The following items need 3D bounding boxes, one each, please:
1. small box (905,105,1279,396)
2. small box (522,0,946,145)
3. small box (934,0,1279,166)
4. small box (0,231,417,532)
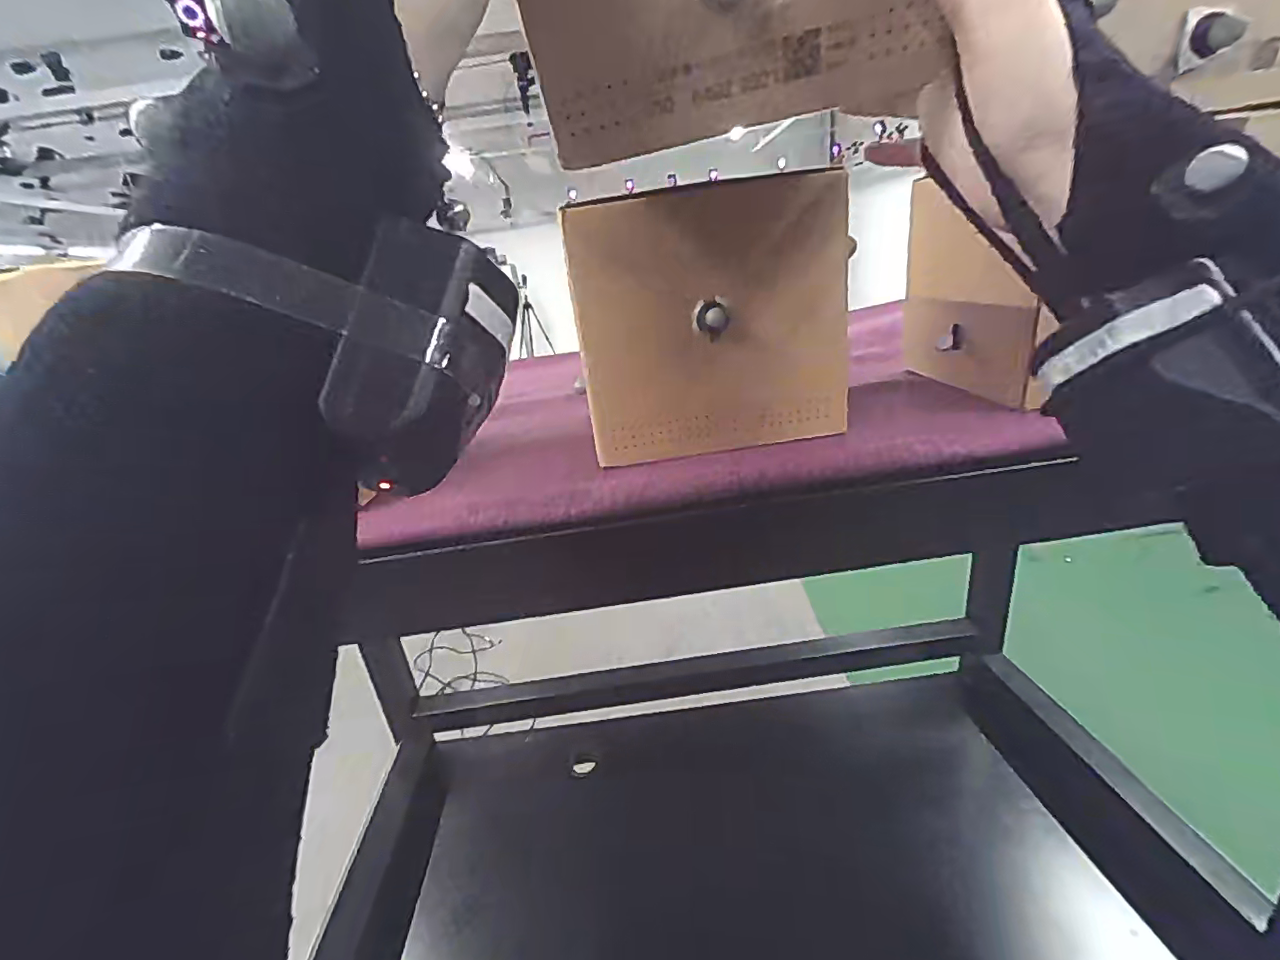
[{"bbox_3d":[0.329,-0.167,0.420,0.168,0.176,0.179,-7,22,1],"label":"small box"},{"bbox_3d":[0.027,-0.269,0.238,0.168,0.176,0.179,-9,42,8],"label":"small box"},{"bbox_3d":[0.318,-0.317,0.359,0.168,0.176,0.179,-8,22,3],"label":"small box"},{"bbox_3d":[-0.281,-0.077,0.399,0.168,0.176,0.179,-8,20,-4],"label":"small box"}]
